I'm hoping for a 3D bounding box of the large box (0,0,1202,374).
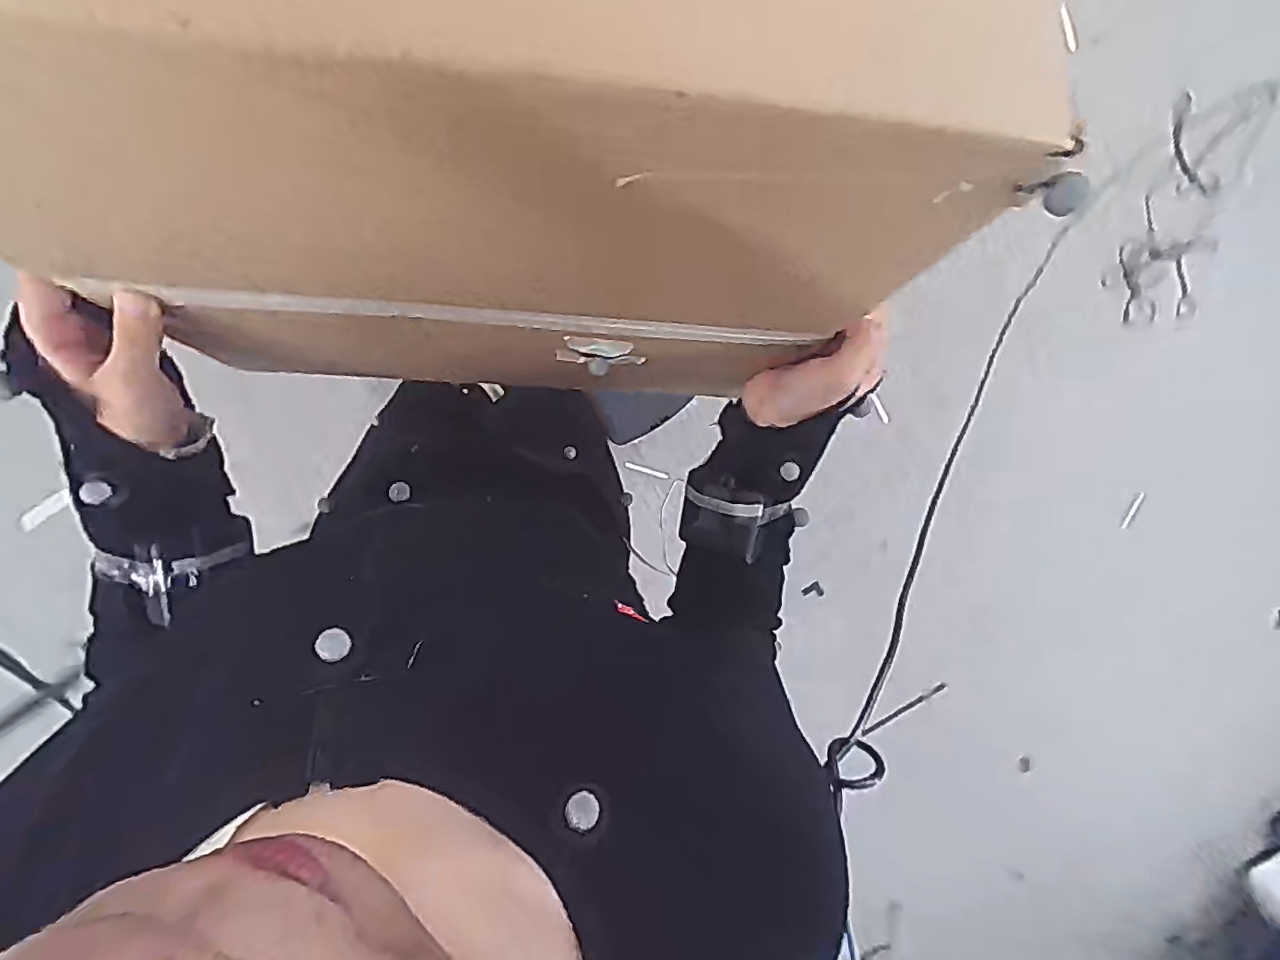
[{"bbox_3d":[-0.066,-0.256,0.280,0.408,0.320,0.320,1,85,-8],"label":"large box"}]
